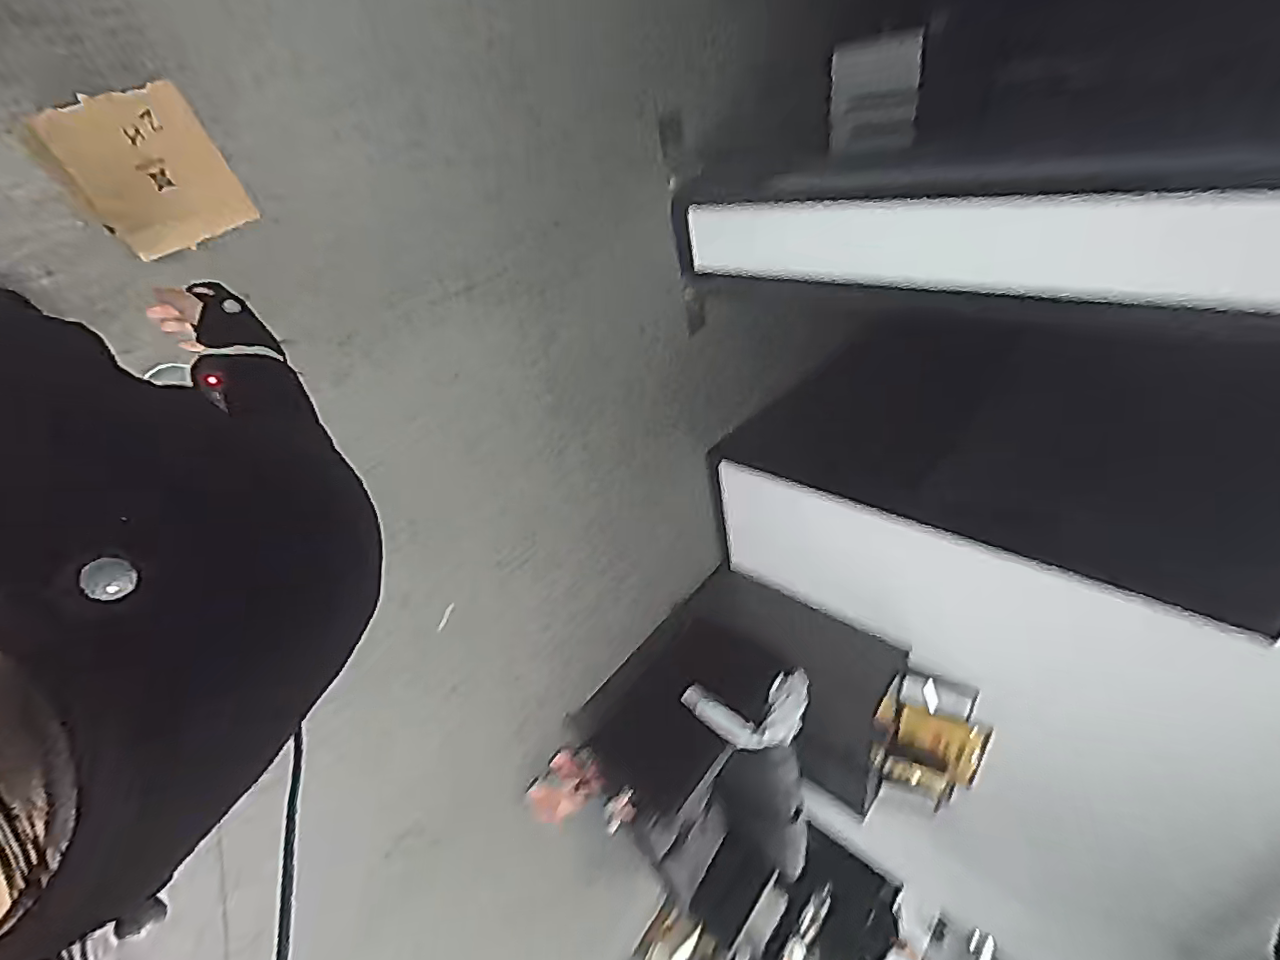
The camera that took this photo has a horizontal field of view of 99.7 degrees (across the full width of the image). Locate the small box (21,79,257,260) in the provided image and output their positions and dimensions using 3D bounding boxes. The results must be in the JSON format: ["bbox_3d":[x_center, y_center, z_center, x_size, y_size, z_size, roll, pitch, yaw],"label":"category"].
[{"bbox_3d":[-0.696,-0.430,0.761,0.168,0.176,0.179,-44,135,-29],"label":"small box"}]
